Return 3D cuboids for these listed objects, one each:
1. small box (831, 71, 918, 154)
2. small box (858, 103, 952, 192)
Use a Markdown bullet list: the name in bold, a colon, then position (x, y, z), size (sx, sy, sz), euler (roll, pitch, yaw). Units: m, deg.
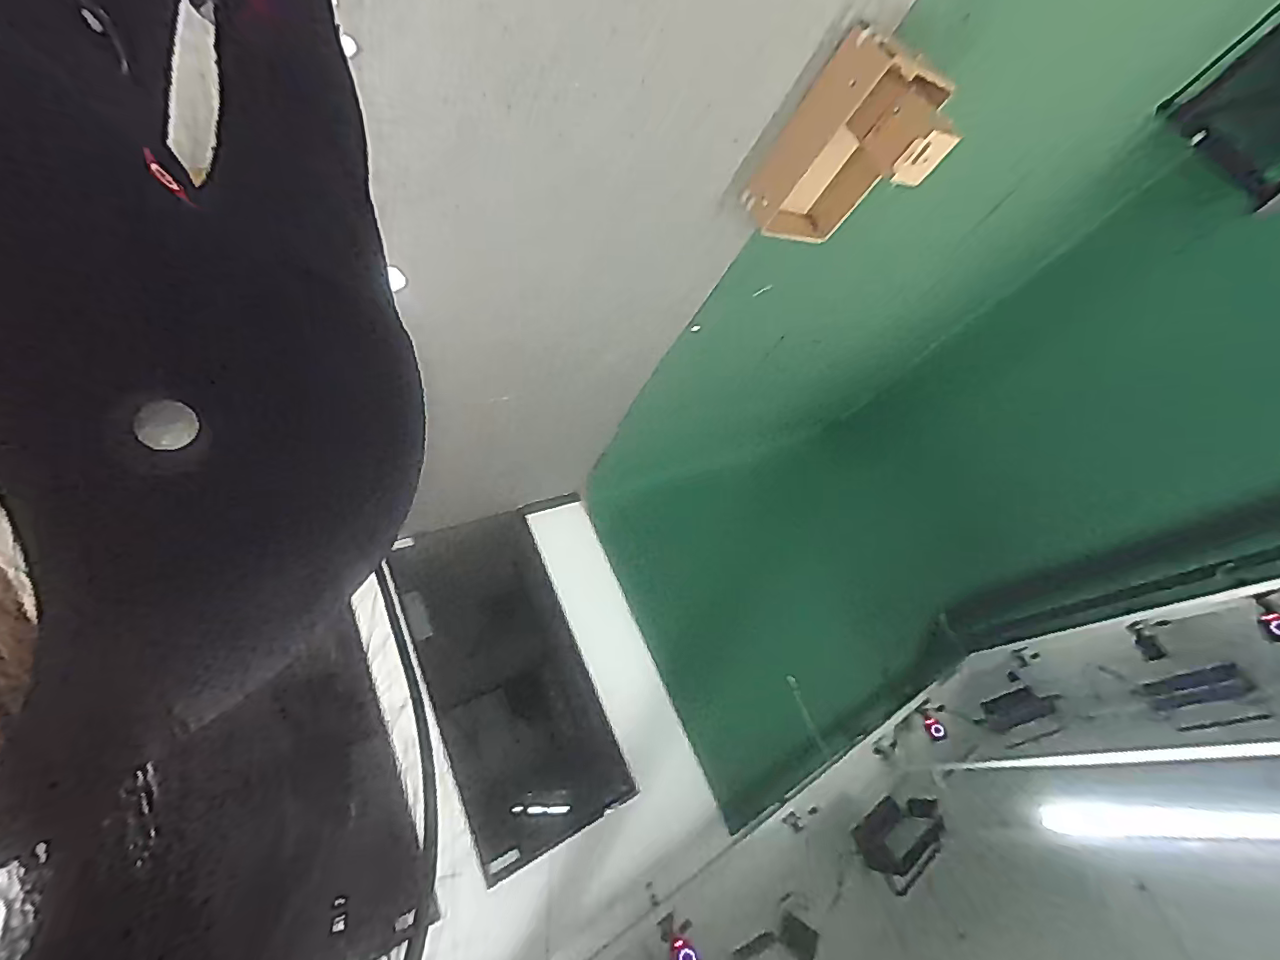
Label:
- **small box**: position (0.767, -1.185, 1.760), size (0.179, 0.176, 0.168), euler (-13, 159, -33)
- **small box**: position (0.827, -1.044, 1.700), size (0.179, 0.176, 0.168), euler (-14, 160, -35)
